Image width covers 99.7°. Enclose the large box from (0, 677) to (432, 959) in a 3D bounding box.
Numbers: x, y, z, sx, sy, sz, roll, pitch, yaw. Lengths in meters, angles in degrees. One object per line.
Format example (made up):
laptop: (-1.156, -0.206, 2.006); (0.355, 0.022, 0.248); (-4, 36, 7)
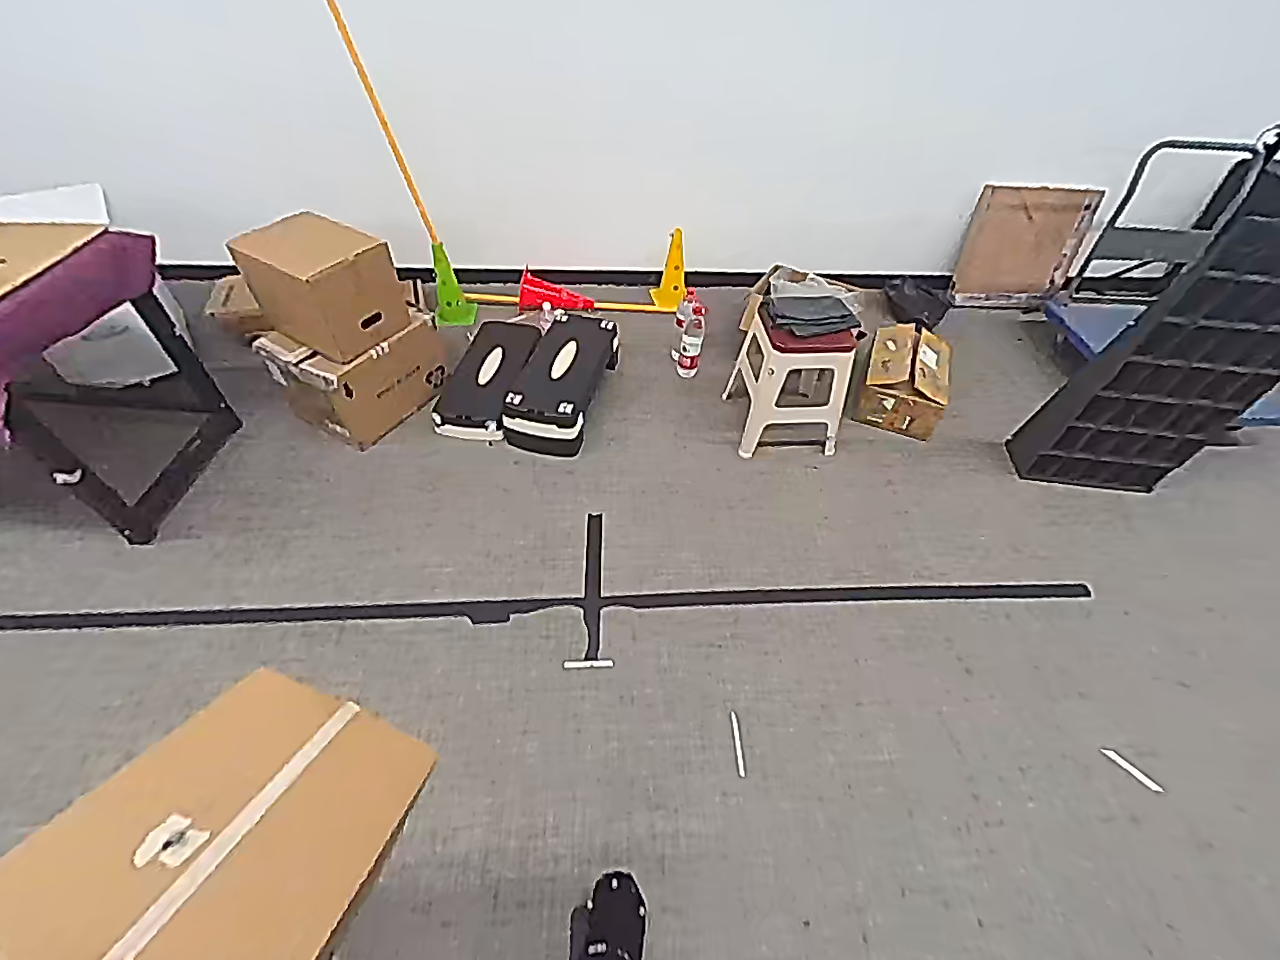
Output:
large box: (-0.549, 0.555, 0.712); (0.320, 0.320, 0.408); (26, 14, -1)
